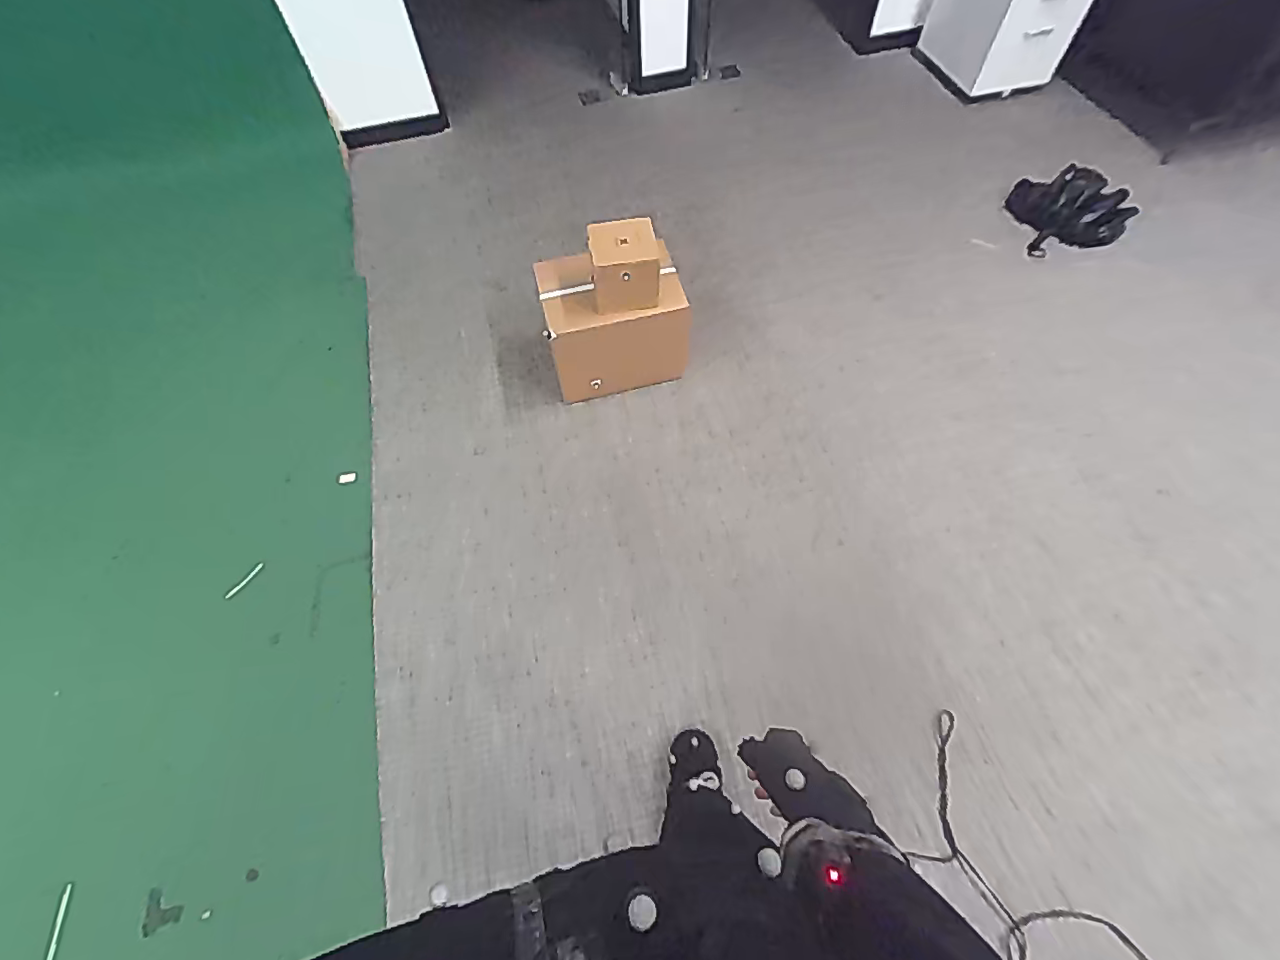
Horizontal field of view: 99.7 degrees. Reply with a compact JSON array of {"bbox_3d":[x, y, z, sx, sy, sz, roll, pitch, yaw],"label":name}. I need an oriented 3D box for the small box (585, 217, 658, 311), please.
[{"bbox_3d":[-0.049,-0.583,1.475,0.179,0.176,0.168,-8,63,-4],"label":"small box"}]
